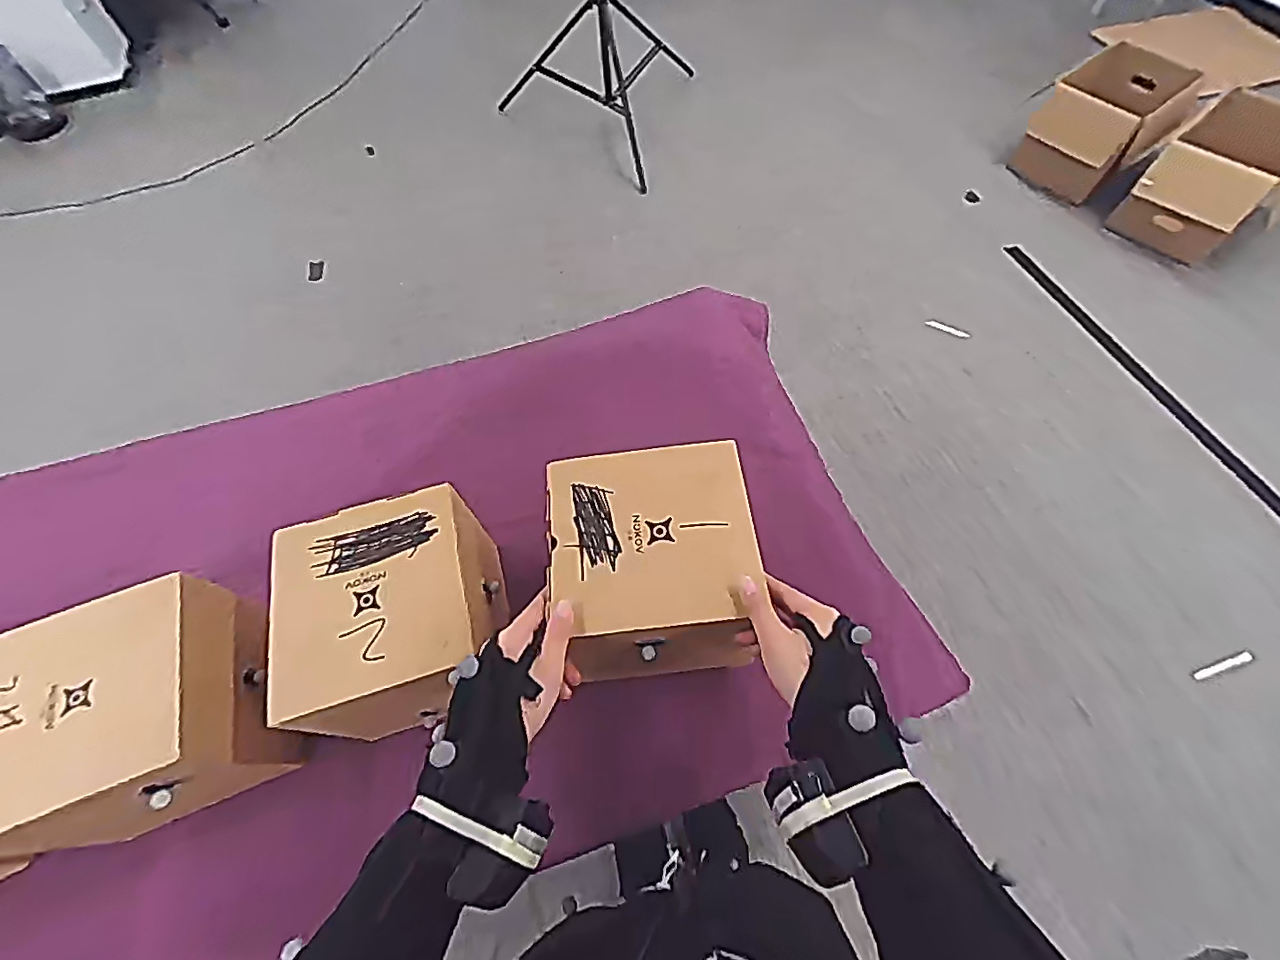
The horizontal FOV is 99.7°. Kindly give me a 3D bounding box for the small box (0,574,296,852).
[{"bbox_3d":[-0.453,0.215,0.507,0.179,0.176,0.168,-21,62,-8],"label":"small box"}]
